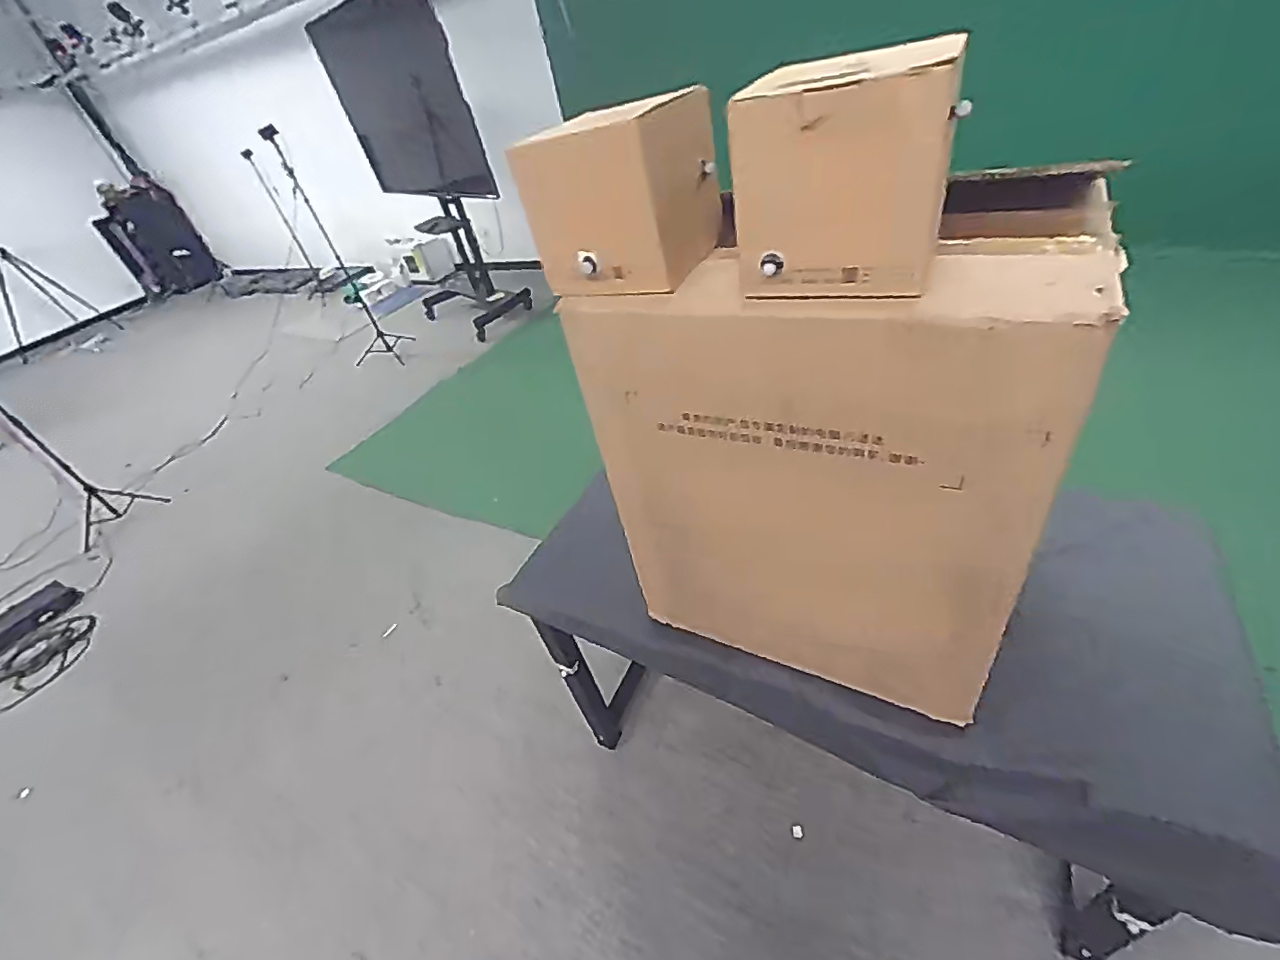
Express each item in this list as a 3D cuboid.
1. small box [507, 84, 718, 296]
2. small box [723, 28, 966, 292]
[{"bbox_3d":[-0.016,-0.332,0.633,0.168,0.176,0.179,8,46,29],"label":"small box"},{"bbox_3d":[0.192,-0.288,0.507,0.168,0.176,0.179,11,45,27],"label":"small box"}]
